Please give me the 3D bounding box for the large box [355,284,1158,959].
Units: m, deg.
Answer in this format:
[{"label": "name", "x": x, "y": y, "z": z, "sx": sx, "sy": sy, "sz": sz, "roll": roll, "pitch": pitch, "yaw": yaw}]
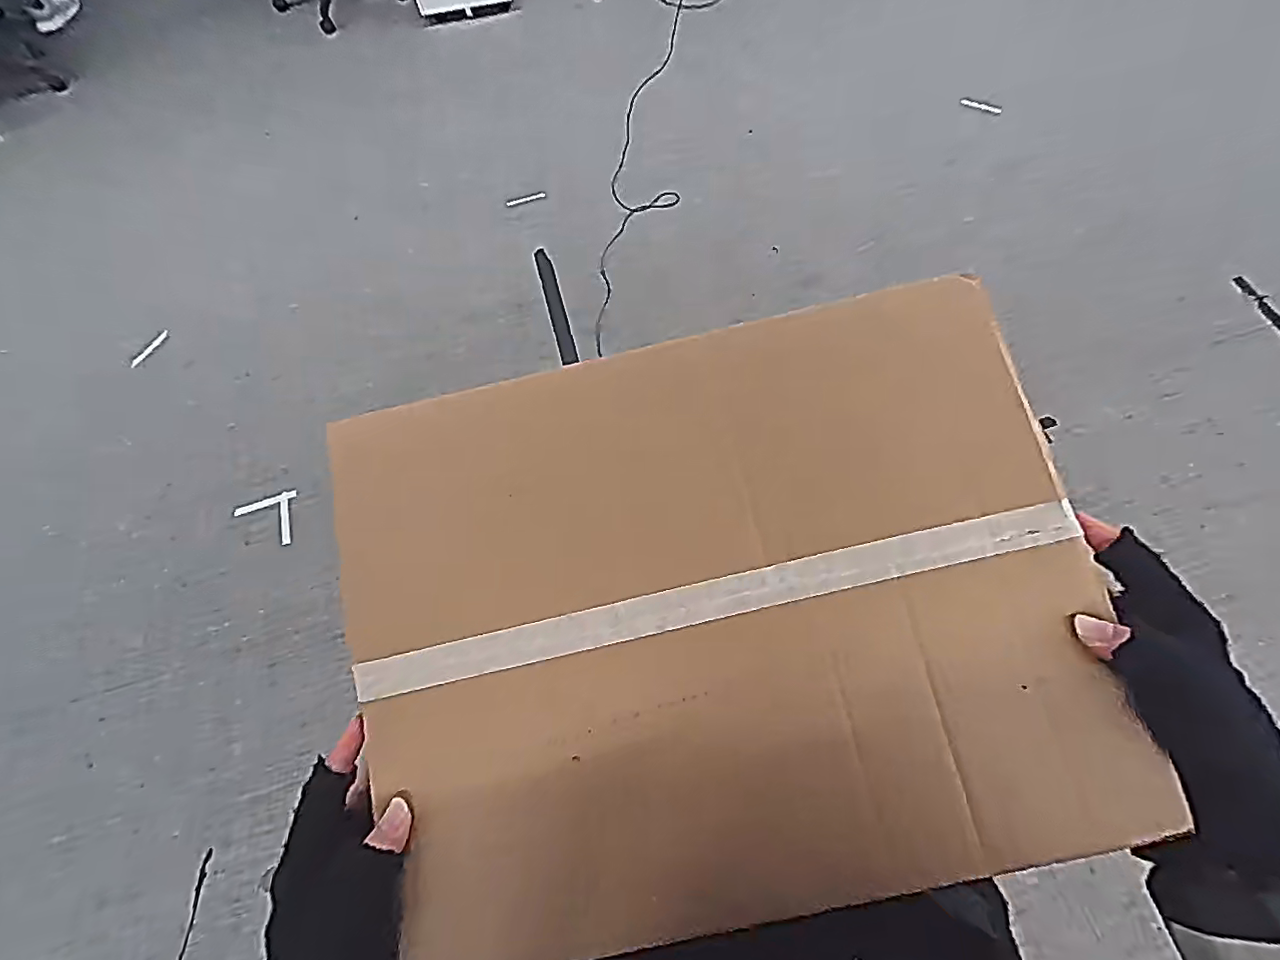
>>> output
[{"label": "large box", "x": 0.051, "y": 0.099, "z": 0.457, "sx": 0.408, "sy": 0.320, "sz": 0.320, "roll": -14, "pitch": 79, "yaw": 2}]
